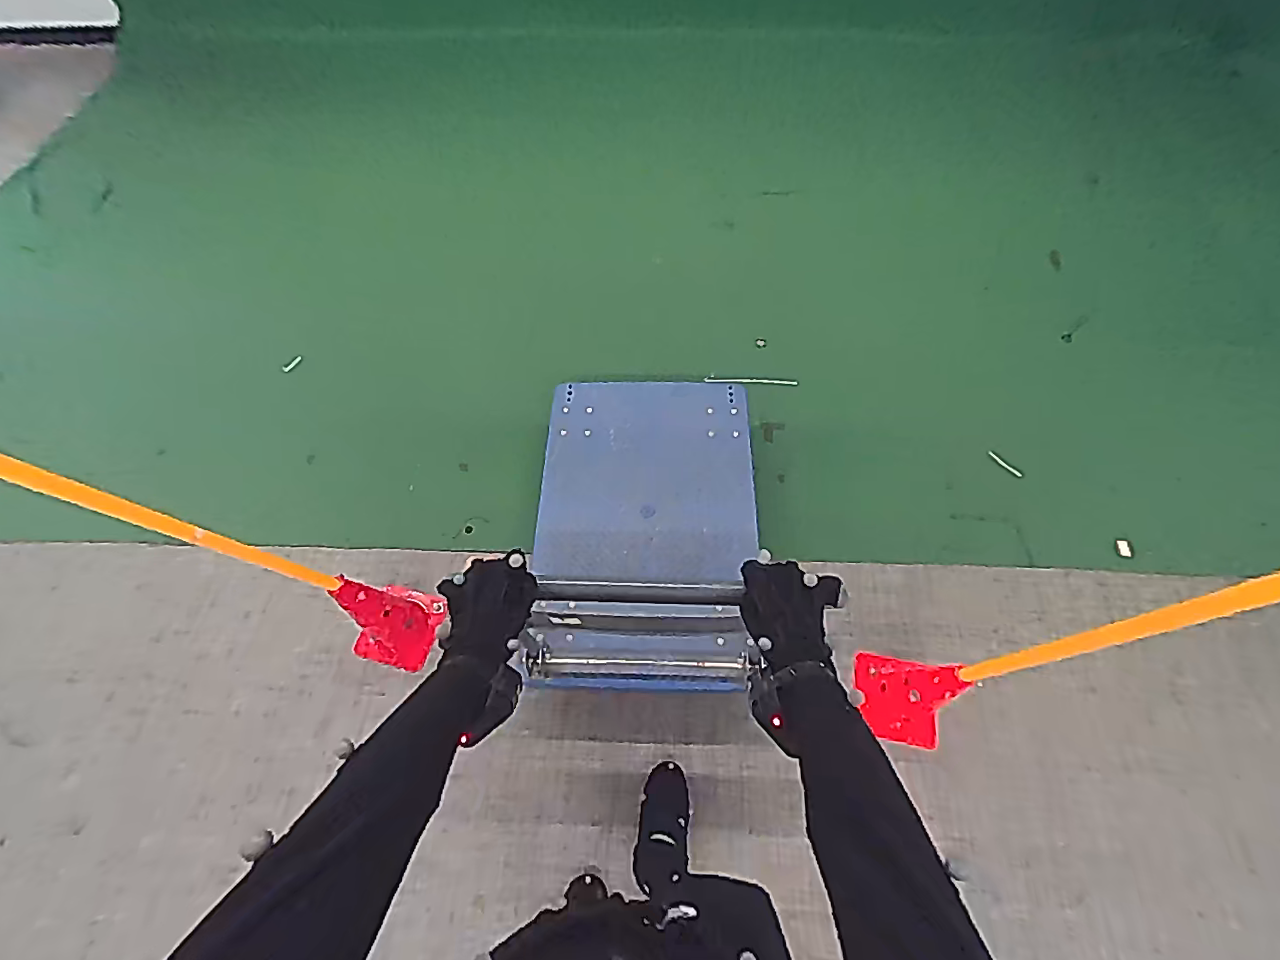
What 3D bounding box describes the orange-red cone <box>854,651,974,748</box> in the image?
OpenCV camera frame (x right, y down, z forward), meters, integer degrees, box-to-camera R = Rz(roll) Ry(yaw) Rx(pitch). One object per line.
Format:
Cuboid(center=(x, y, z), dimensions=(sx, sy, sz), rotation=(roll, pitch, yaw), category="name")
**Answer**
Cuboid(center=(0.630, 0.458, 1.189), dimensions=(0.198, 0.360, 0.199), rotation=(11, 63, 8), category="orange-red cone")
